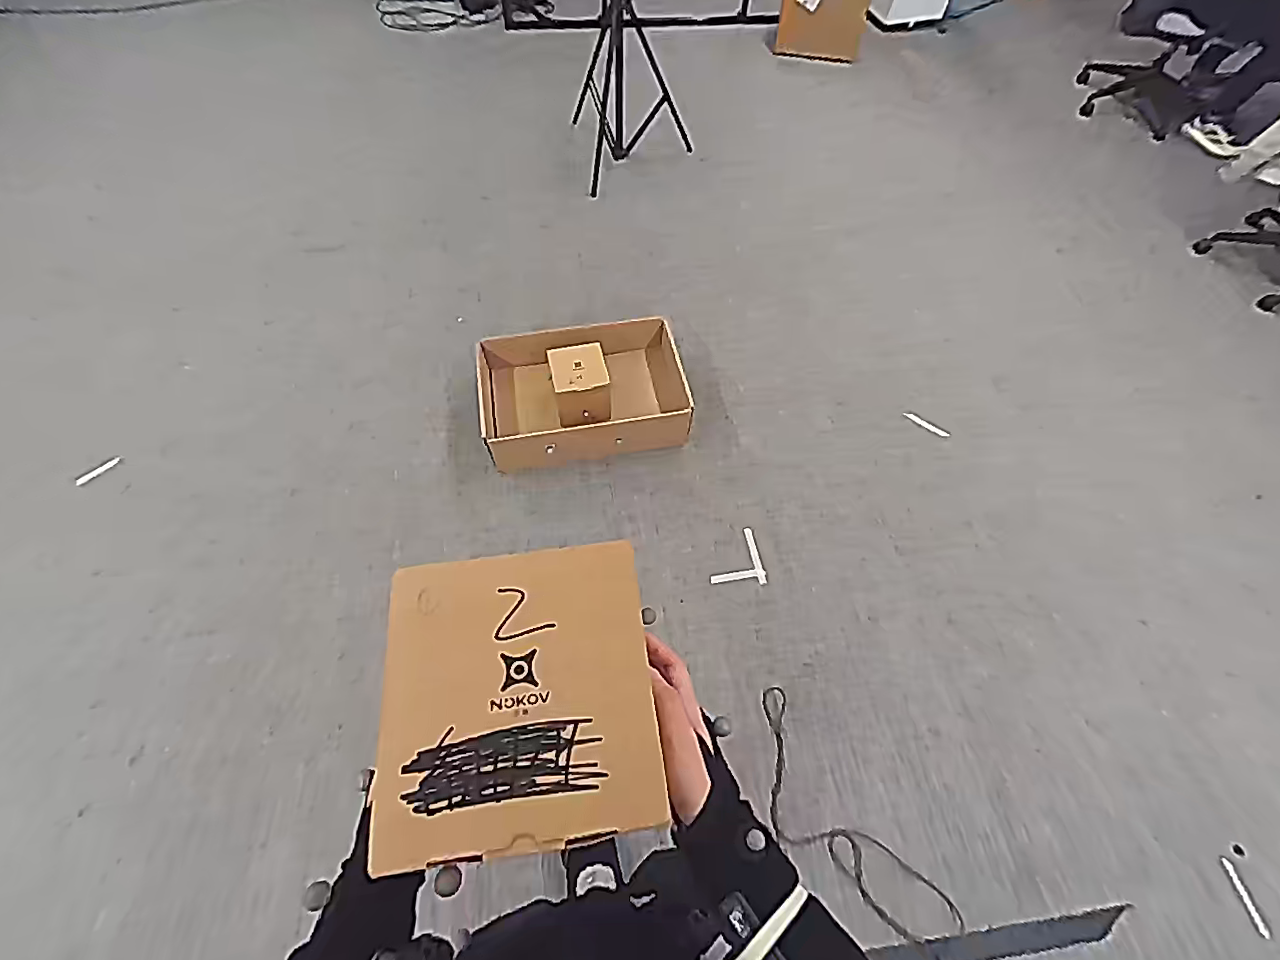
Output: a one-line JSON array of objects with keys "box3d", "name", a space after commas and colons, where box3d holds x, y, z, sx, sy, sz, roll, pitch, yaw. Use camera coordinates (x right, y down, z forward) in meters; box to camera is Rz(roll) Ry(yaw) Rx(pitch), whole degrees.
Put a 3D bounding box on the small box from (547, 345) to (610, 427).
[{"box3d": [-0.192, -0.294, 1.692, 0.168, 0.176, 0.179, -11, 61, -8], "name": "small box"}]
